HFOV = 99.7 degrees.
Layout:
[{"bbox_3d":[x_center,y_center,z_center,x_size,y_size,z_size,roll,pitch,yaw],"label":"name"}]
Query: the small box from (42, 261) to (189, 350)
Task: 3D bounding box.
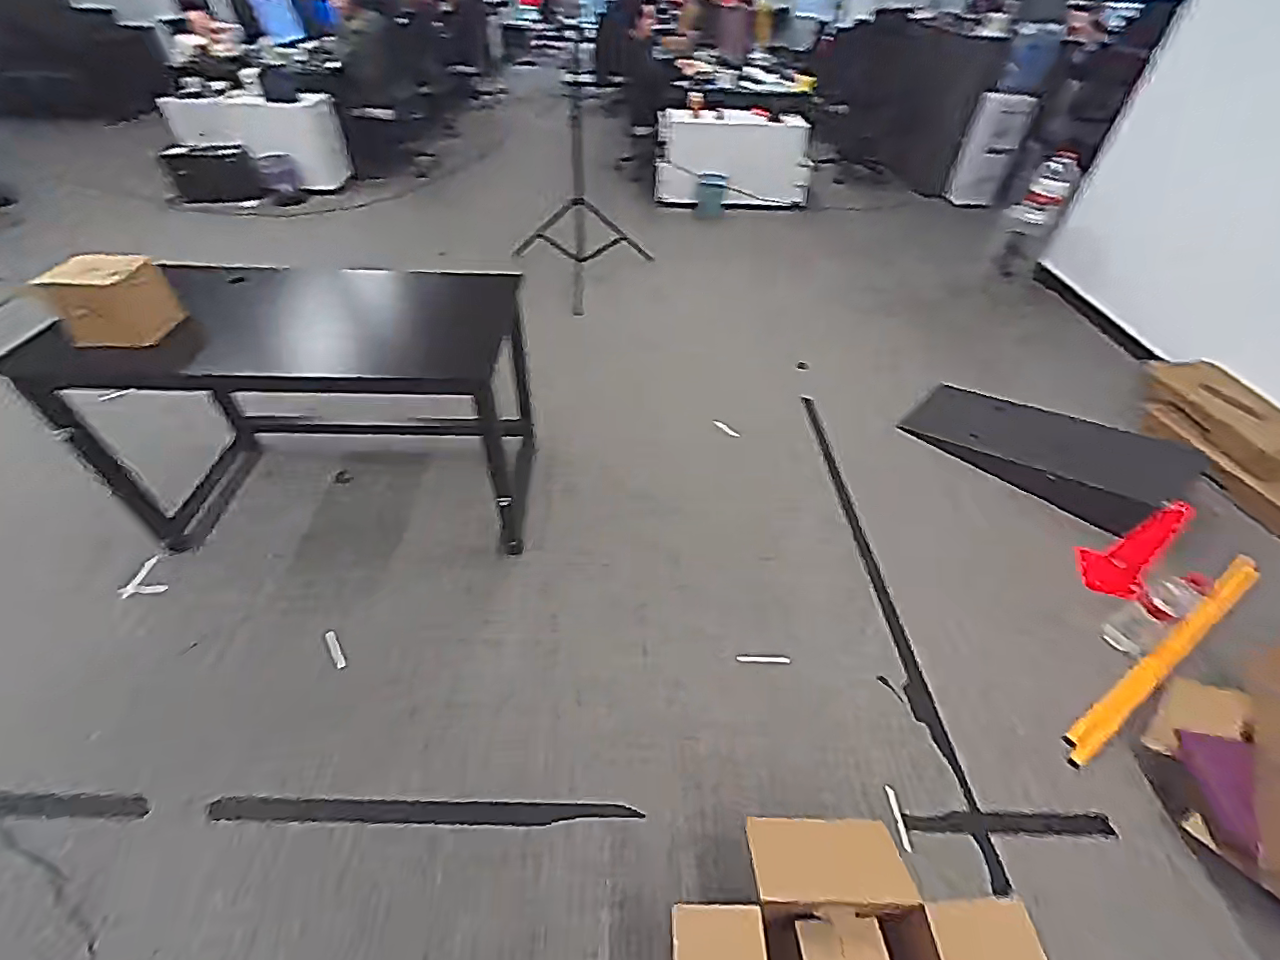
[{"bbox_3d":[-1.331,-0.447,1.389,0.179,0.176,0.168,-1,44,-3],"label":"small box"}]
